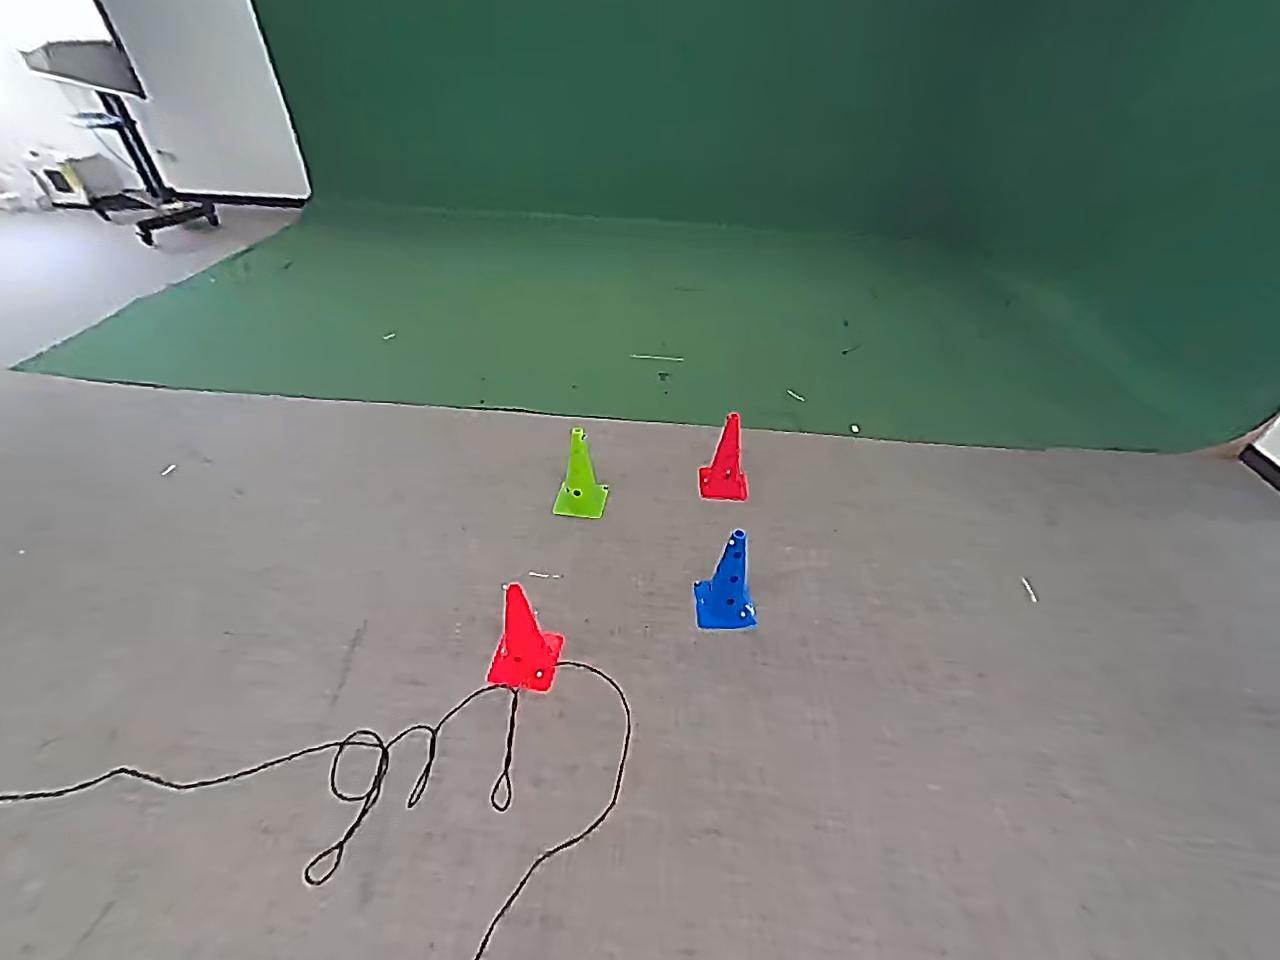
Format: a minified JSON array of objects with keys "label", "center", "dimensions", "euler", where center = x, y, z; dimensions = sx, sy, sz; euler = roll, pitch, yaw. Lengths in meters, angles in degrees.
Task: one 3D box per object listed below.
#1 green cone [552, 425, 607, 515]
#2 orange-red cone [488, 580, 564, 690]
[{"label":"green cone","center":[-0.242,-0.061,2.116],"dimensions":[0.200,0.368,0.202],"euler":[6,42,4]},{"label":"orange-red cone","center":[-0.344,0.417,1.571],"dimensions":[0.198,0.360,0.199],"euler":[8,40,5]}]
